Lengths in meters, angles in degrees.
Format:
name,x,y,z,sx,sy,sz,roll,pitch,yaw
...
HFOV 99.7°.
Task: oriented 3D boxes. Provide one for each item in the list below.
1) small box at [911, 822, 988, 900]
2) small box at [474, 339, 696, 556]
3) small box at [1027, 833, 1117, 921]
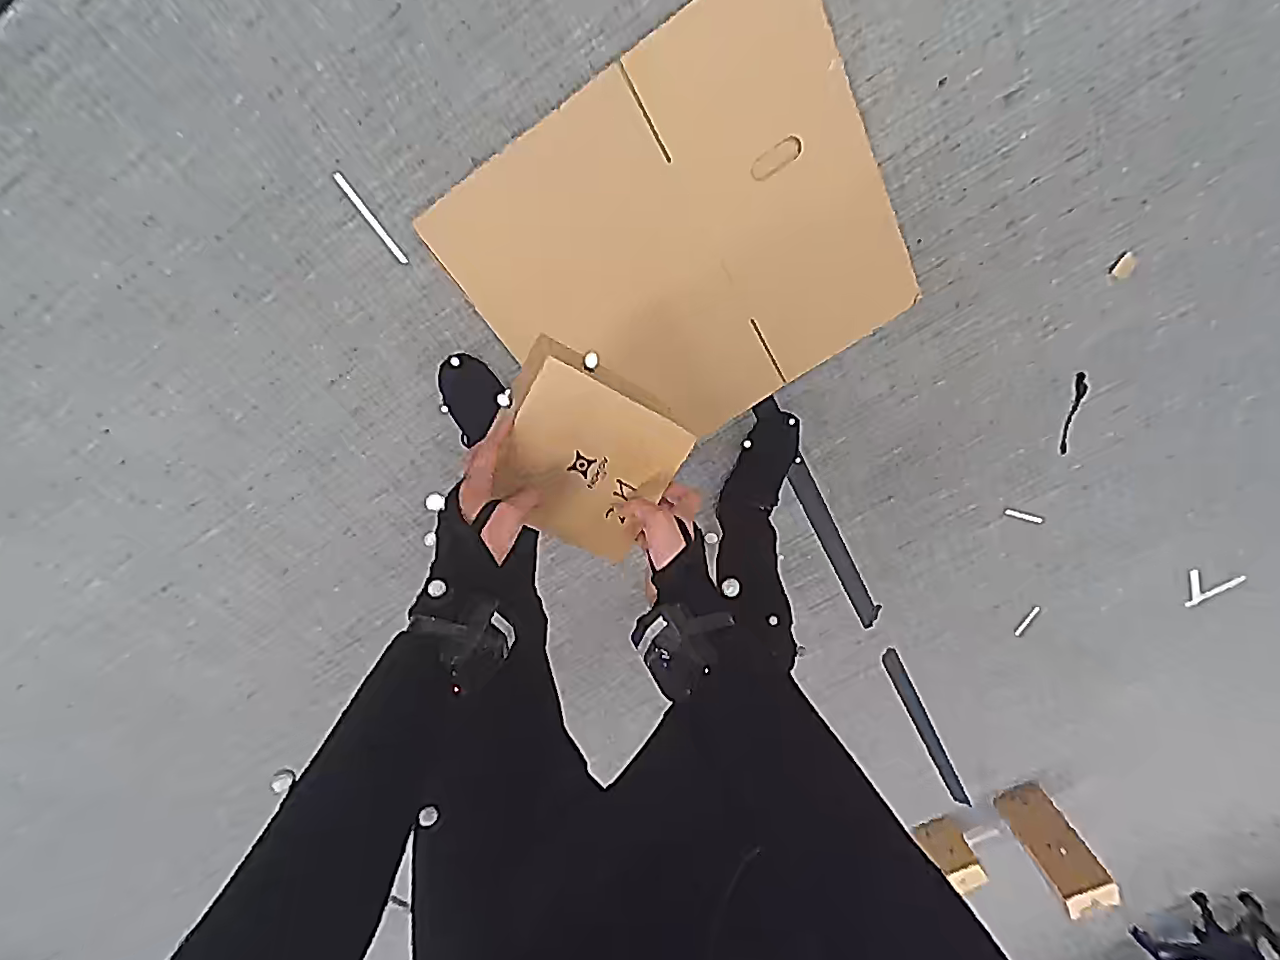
name,x,y,z,sx,sy,sz,roll,pitch,yaw
small box,1.149,1.416,2.019,0.168,0.176,0.179,-32,118,11
small box,-0.070,-0.046,0.619,0.179,0.176,0.168,26,104,-22
small box,1.453,1.335,1.823,0.168,0.176,0.179,-29,118,8
